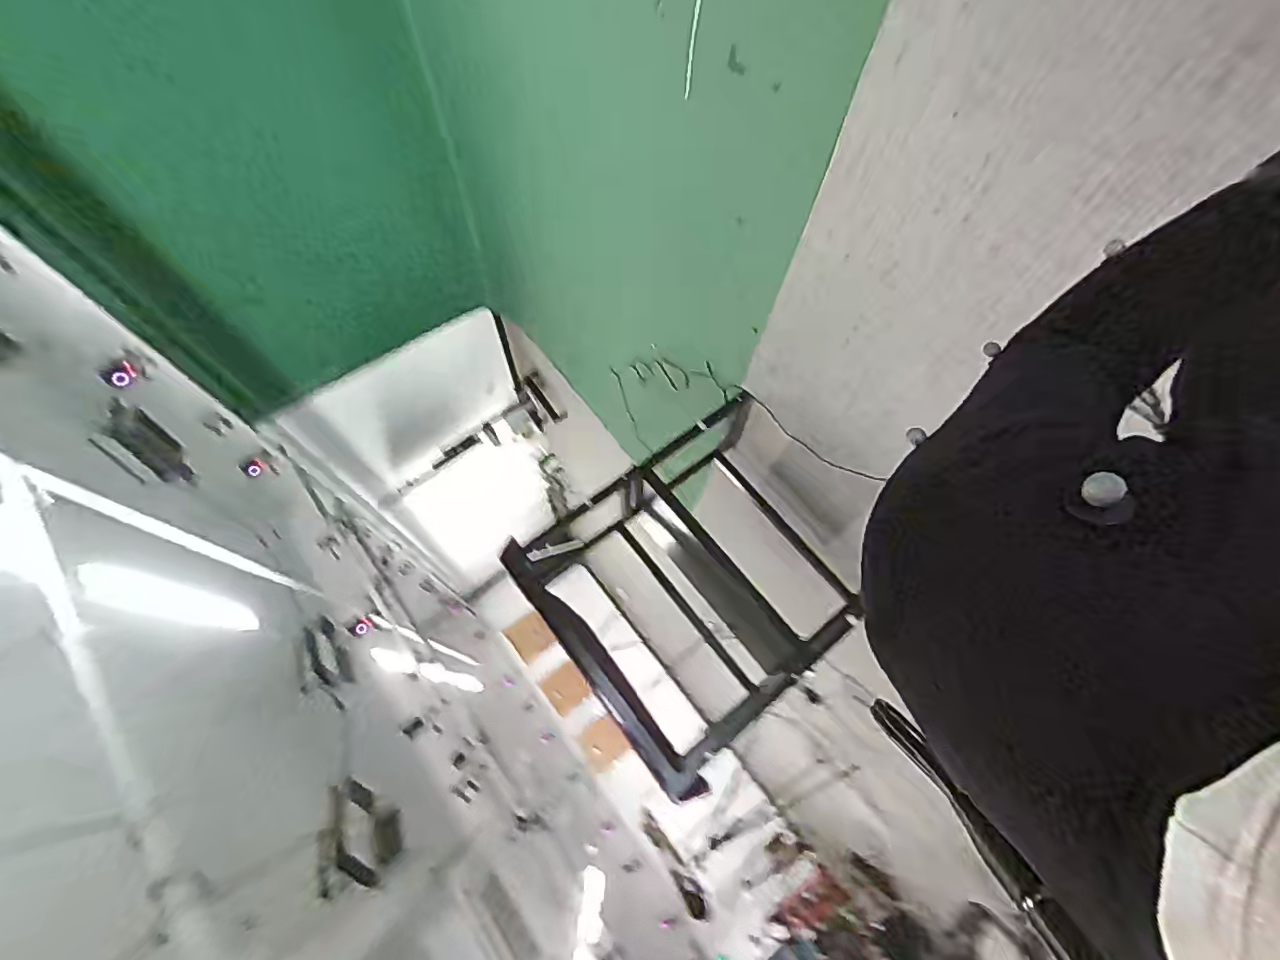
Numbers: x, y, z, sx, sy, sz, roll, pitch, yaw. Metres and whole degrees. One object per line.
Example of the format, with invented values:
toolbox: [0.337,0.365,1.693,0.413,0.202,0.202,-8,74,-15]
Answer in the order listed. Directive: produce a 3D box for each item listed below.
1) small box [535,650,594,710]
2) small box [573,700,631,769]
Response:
small box: [-0.308,0.827,2.245,0.179,0.176,0.168,49,164,18]
small box: [-0.150,1.014,2.166,0.179,0.176,0.168,52,164,14]
